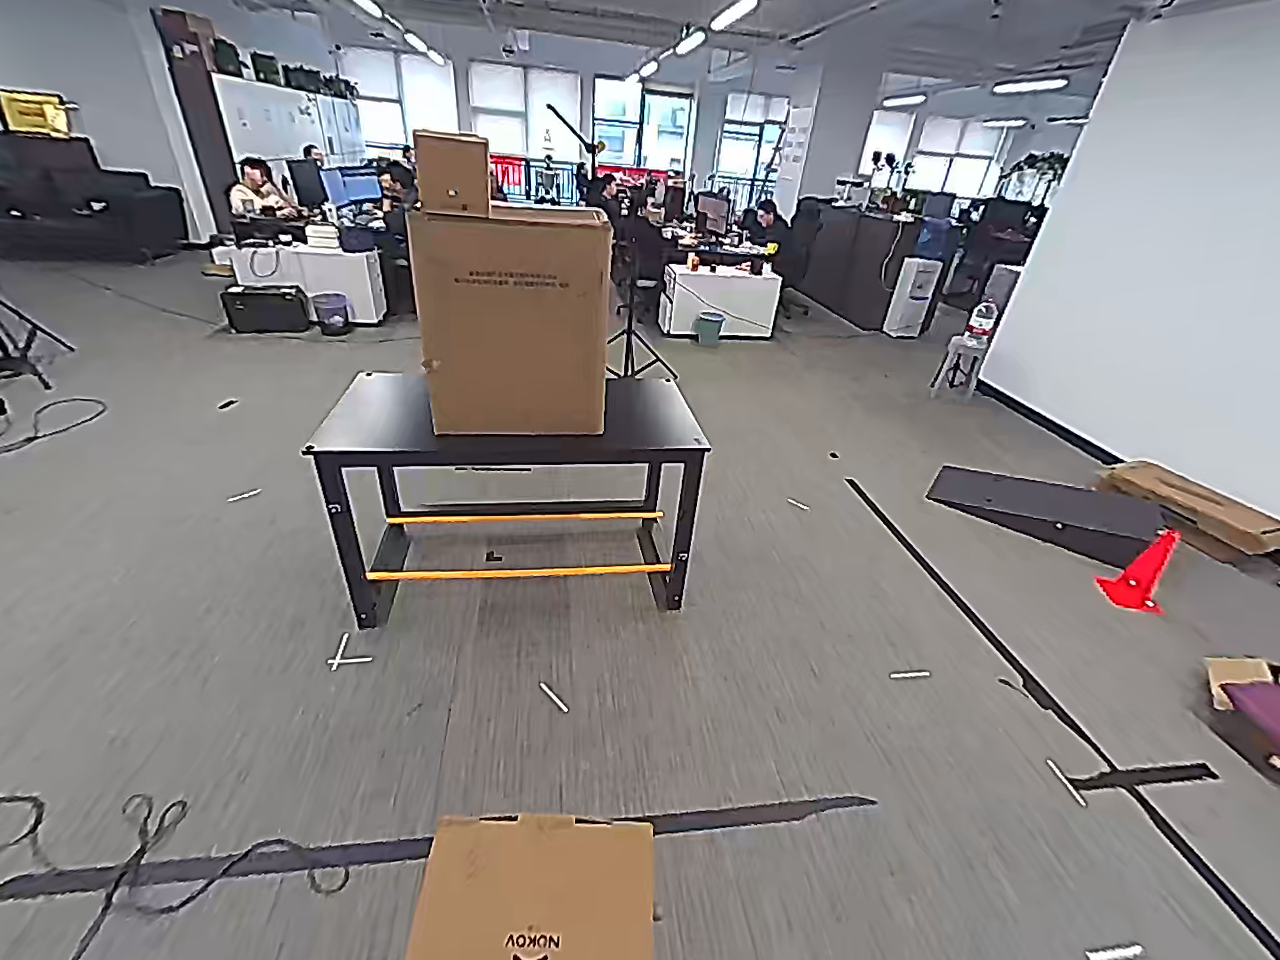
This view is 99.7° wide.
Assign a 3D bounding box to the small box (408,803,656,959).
[{"bbox_3d":[-0.076,0.374,0.413,0.168,0.176,0.179,3,43,-2],"label":"small box"}]

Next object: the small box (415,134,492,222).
[{"bbox_3d":[-0.466,-0.767,1.373,0.168,0.176,0.179,-2,35,-13],"label":"small box"}]
